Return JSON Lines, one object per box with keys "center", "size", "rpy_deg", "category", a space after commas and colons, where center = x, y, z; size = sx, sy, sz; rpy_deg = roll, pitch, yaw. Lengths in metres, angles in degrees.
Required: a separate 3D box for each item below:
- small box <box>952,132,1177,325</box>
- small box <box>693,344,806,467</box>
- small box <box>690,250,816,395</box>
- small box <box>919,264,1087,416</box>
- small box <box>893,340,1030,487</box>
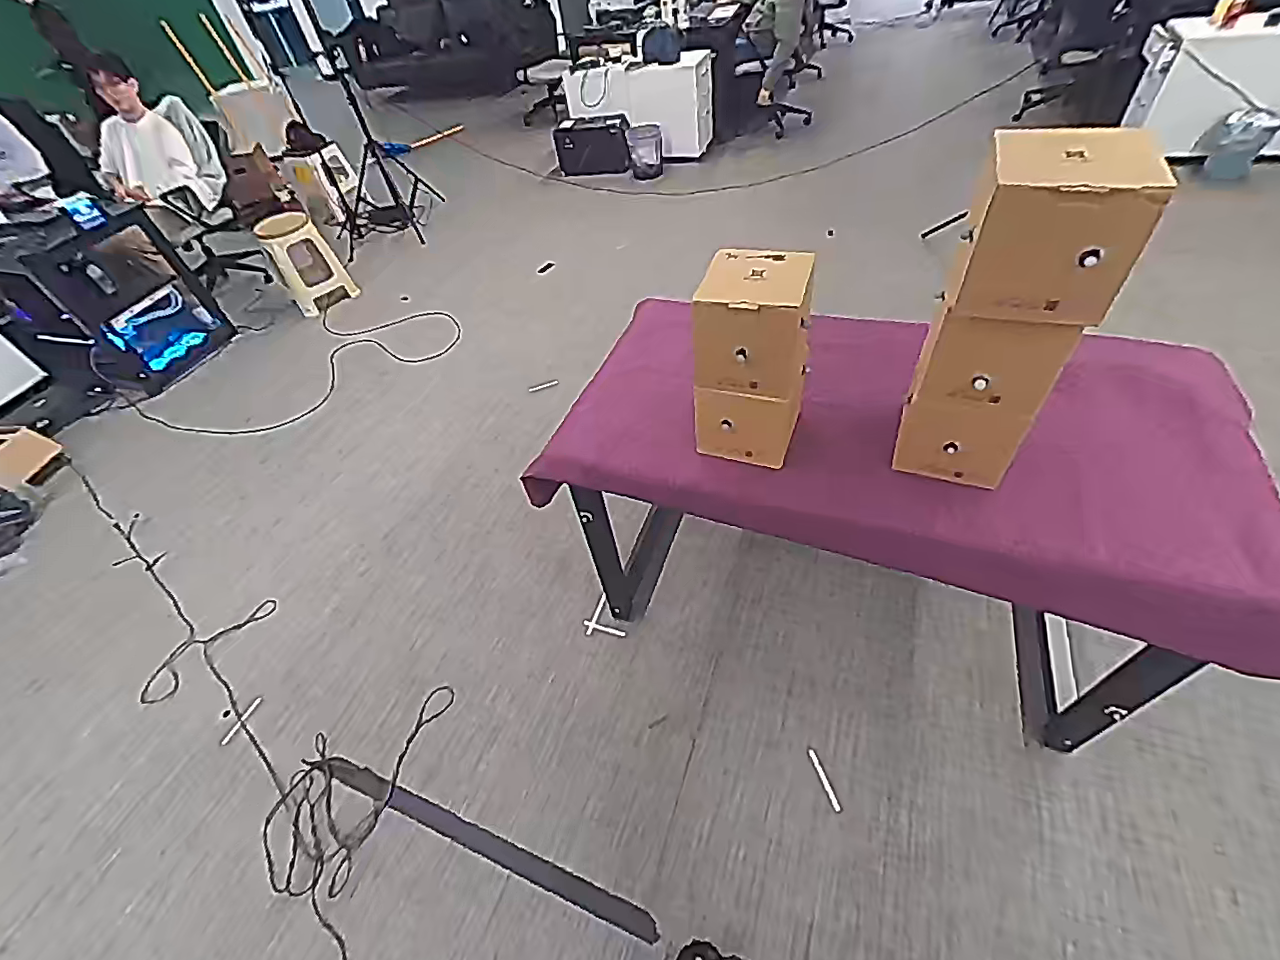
{"center": [0.511, -0.316, 0.684], "size": [0.168, 0.176, 0.179], "rpy_deg": [12, 51, 18], "category": "small box"}
{"center": [0.209, -0.149, 1.025], "size": [0.168, 0.176, 0.179], "rpy_deg": [13, 51, 19], "category": "small box"}
{"center": [0.191, -0.263, 0.909], "size": [0.168, 0.176, 0.179], "rpy_deg": [11, 51, 18], "category": "small box"}
{"center": [0.537, -0.225, 0.818], "size": [0.168, 0.176, 0.179], "rpy_deg": [14, 53, 21], "category": "small box"}
{"center": [0.552, -0.114, 0.938], "size": [0.168, 0.176, 0.179], "rpy_deg": [15, 52, 20], "category": "small box"}
